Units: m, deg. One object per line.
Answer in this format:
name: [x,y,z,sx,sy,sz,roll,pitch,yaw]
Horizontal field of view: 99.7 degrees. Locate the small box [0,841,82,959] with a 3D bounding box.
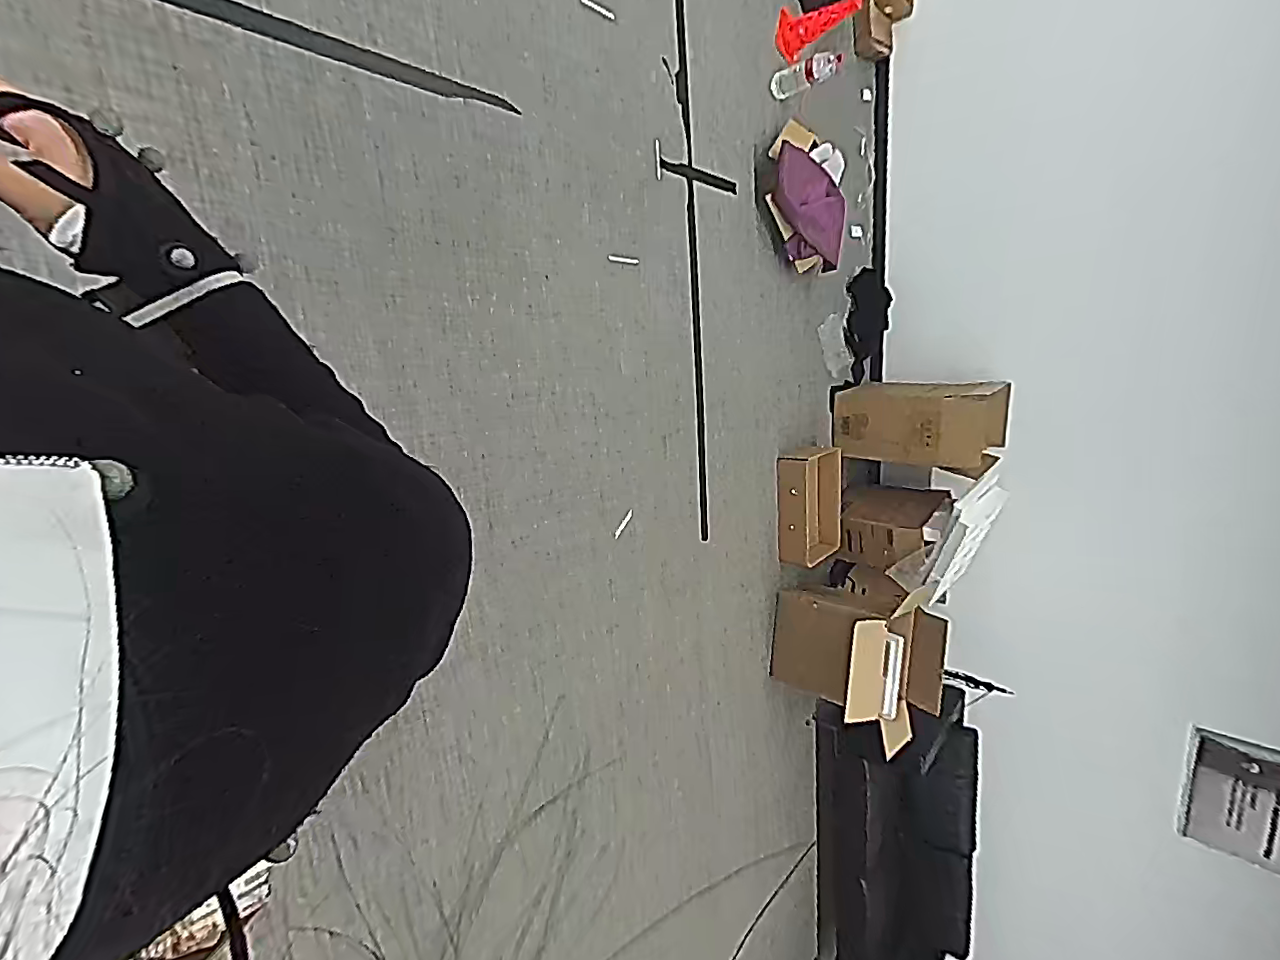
small box: [-0.824,0.599,0.656,0.179,0.176,0.168,-17,107,-42]
